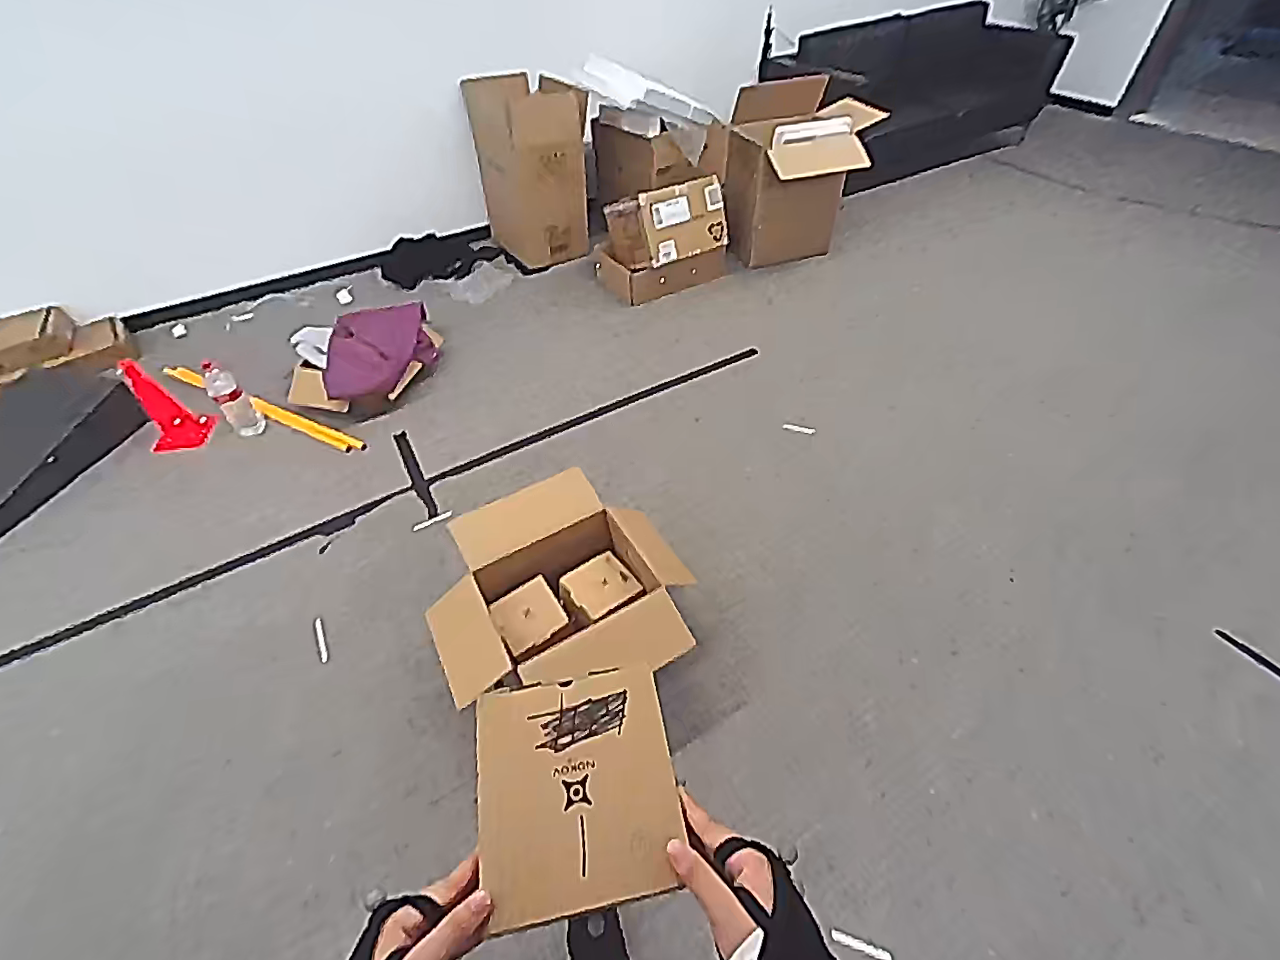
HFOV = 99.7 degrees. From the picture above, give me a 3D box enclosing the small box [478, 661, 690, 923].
[{"bbox_3d":[-0.056,0.304,0.526,0.168,0.176,0.179,-10,53,-7],"label":"small box"}]
